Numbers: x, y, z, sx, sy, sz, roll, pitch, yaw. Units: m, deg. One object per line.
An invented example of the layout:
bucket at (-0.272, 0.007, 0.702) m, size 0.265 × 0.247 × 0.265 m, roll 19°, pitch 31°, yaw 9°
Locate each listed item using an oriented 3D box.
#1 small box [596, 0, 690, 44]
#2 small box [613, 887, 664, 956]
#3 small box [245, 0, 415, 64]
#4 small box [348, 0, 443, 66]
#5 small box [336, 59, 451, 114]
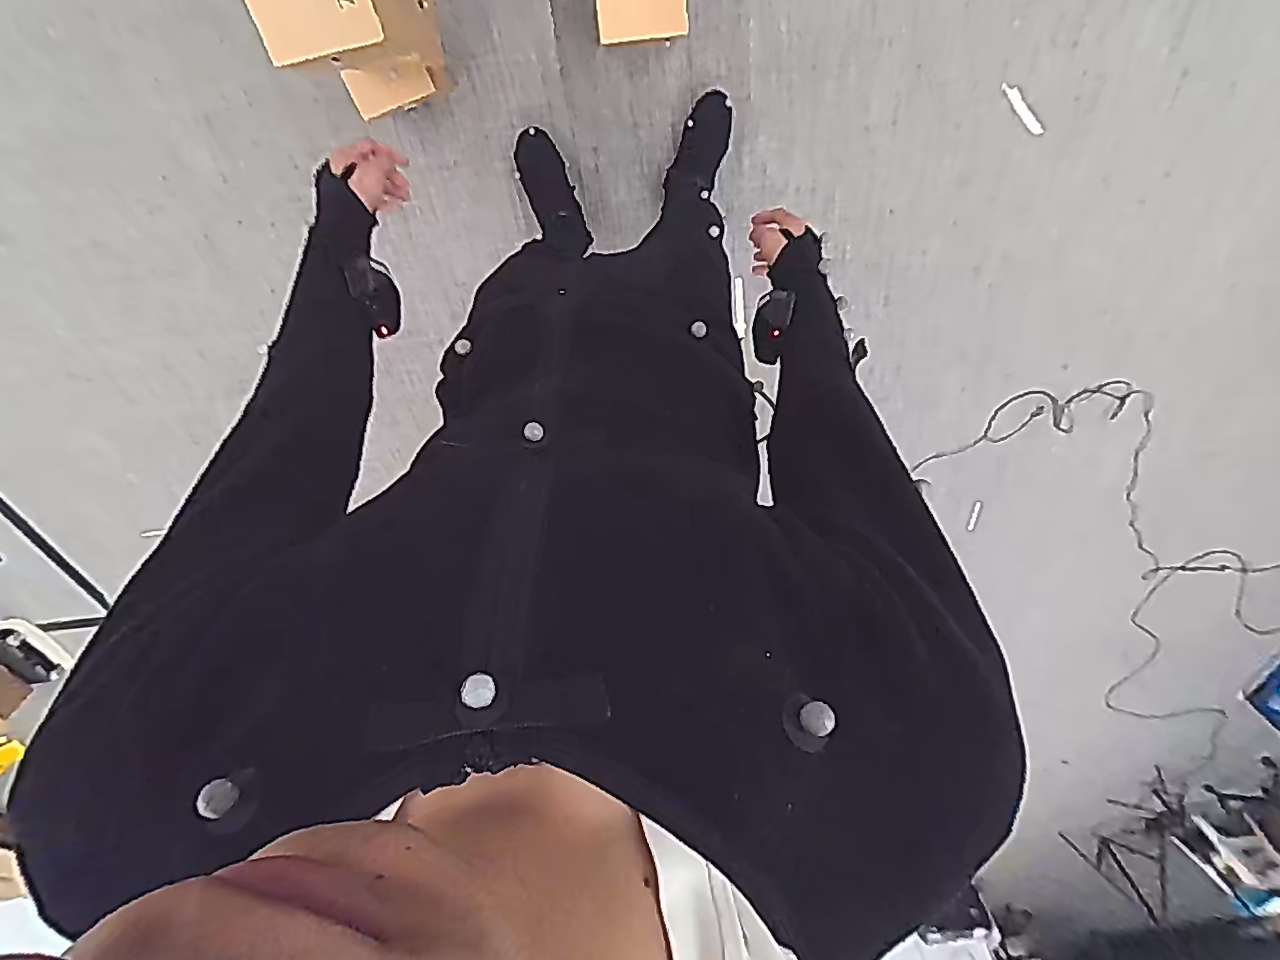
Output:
small box at (-0.001, -0.971, 1.056) m, size 0.179 × 0.176 × 0.168 m, roll -7°, pitch 126°, yaw 0°
small box at (-0.007, 1.722, 2.111) m, size 0.179 × 0.176 × 0.168 m, roll -9°, pitch 127°, yaw 3°
small box at (-0.463, -0.730, 0.792) m, size 0.179 × 0.176 × 0.168 m, roll -10°, pitch 125°, yaw 4°
small box at (-0.456, -0.827, 0.925) m, size 0.168 × 0.176 × 0.179 m, roll -4°, pitch 126°, yaw 0°
small box at (-0.510, -0.868, 1.093) m, size 0.168 × 0.176 × 0.179 m, roll -16°, pitch 126°, yaw 8°
